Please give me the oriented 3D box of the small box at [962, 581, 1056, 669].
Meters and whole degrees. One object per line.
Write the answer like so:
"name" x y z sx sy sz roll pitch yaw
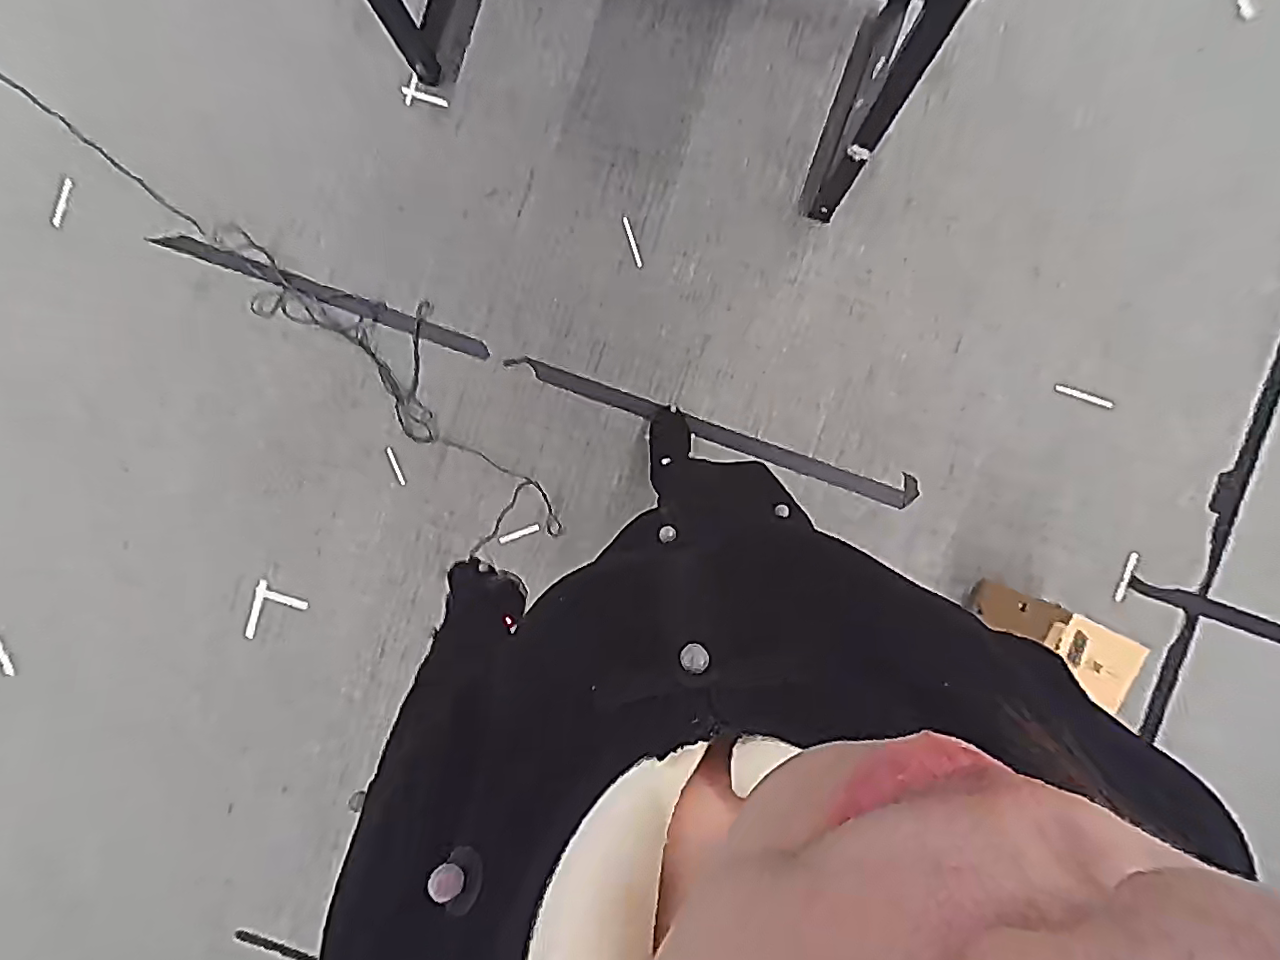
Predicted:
"small box" 0.960 0.379 1.372 0.168 0.176 0.179 21 94 2

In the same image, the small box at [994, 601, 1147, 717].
"small box" 0.946 0.387 1.208 0.179 0.176 0.168 26 93 1
